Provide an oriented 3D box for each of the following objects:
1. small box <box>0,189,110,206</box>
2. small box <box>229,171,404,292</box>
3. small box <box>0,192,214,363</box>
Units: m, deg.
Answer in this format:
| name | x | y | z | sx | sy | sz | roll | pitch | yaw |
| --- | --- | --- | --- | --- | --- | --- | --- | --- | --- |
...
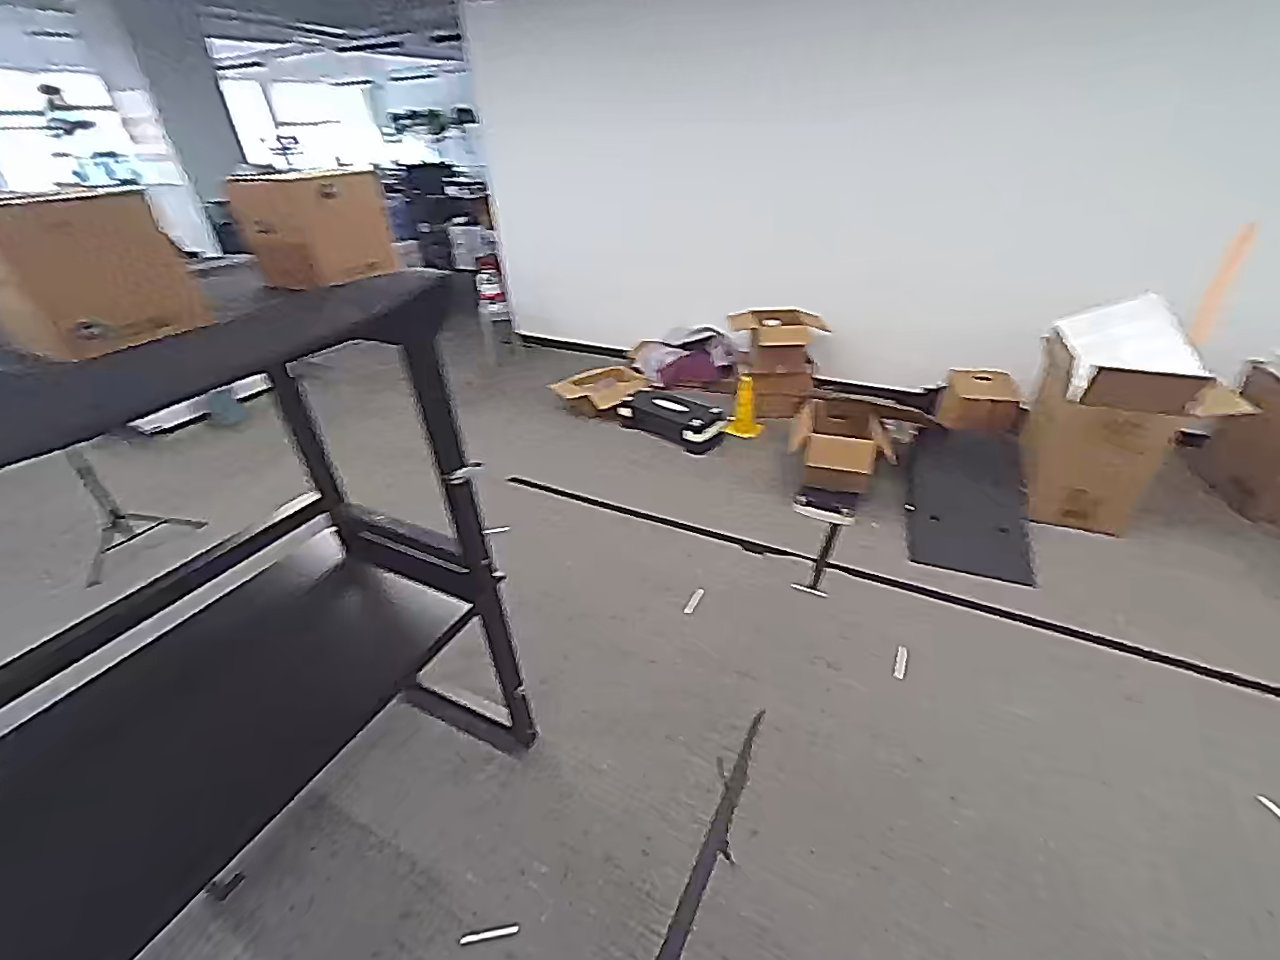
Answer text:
| name | x | y | z | sx | sy | sz | roll | pitch | yaw |
| --- | --- | --- | --- | --- | --- | --- | --- | --- | --- |
| small box | -0.931 | -0.363 | 0.869 | 0.179 | 0.176 | 0.168 | 17 | 37 | 29 |
| small box | -0.549 | -0.431 | 0.937 | 0.179 | 0.176 | 0.168 | 13 | 37 | 25 |
| small box | -0.700 | -0.258 | 0.685 | 0.179 | 0.176 | 0.168 | 12 | 36 | 26 |
